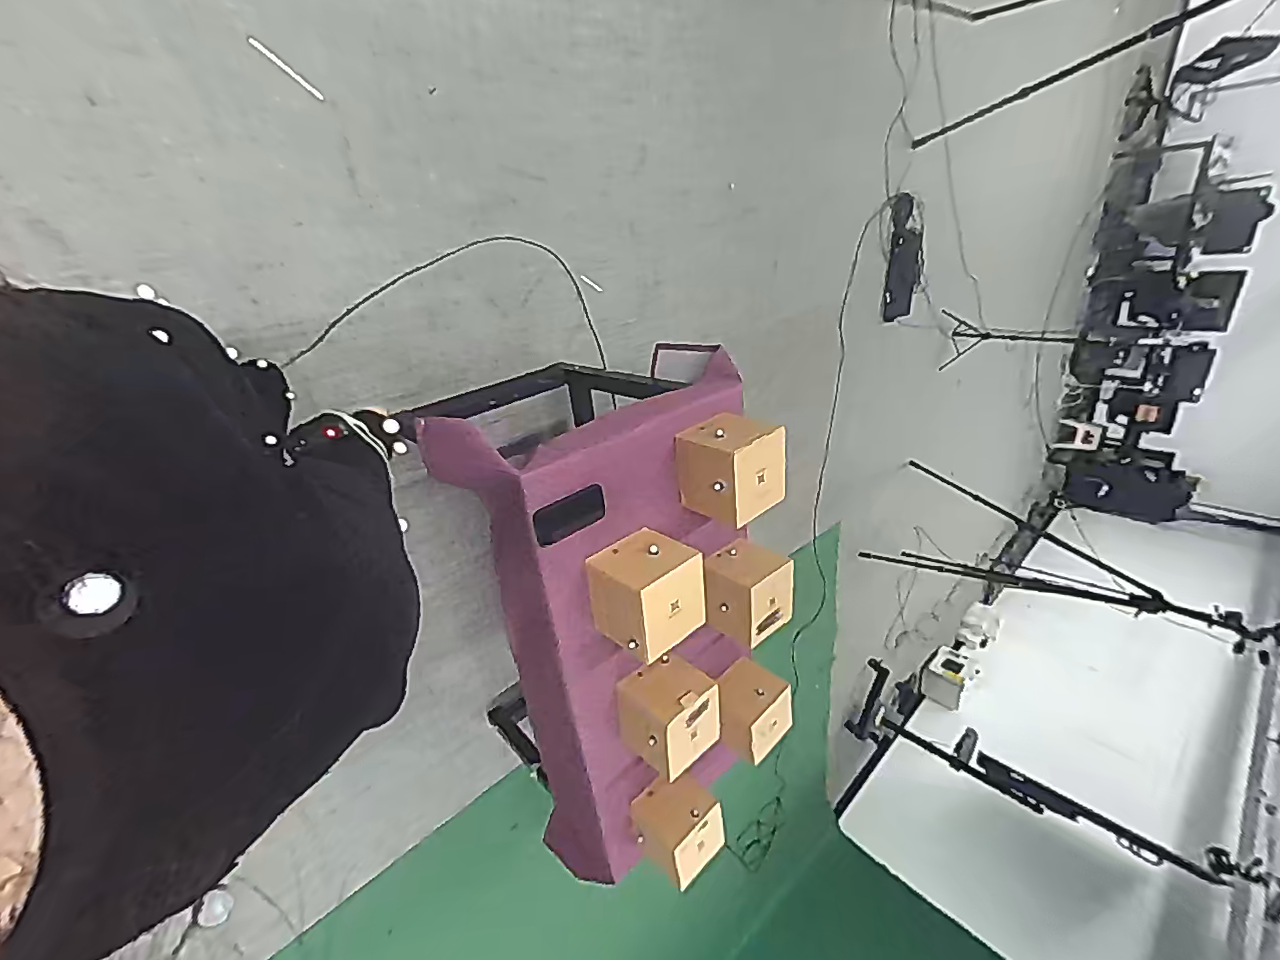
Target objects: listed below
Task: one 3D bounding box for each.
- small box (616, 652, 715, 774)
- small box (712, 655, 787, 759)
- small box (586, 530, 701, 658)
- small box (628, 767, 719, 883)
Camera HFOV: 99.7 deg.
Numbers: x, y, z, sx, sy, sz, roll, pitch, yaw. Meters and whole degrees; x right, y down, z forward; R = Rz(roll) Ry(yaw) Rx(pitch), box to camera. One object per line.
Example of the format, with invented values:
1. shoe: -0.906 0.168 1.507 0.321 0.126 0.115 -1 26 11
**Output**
1. small box: 0.058 0.528 1.262 0.168 0.176 0.179 -23 121 -36
2. small box: 0.294 0.628 1.522 0.179 0.176 0.168 -29 123 -33
3. small box: 0.007 0.218 1.101 0.168 0.176 0.179 -26 122 -36
4. small box: 0.088 0.885 1.417 0.168 0.176 0.179 -28 123 -35
